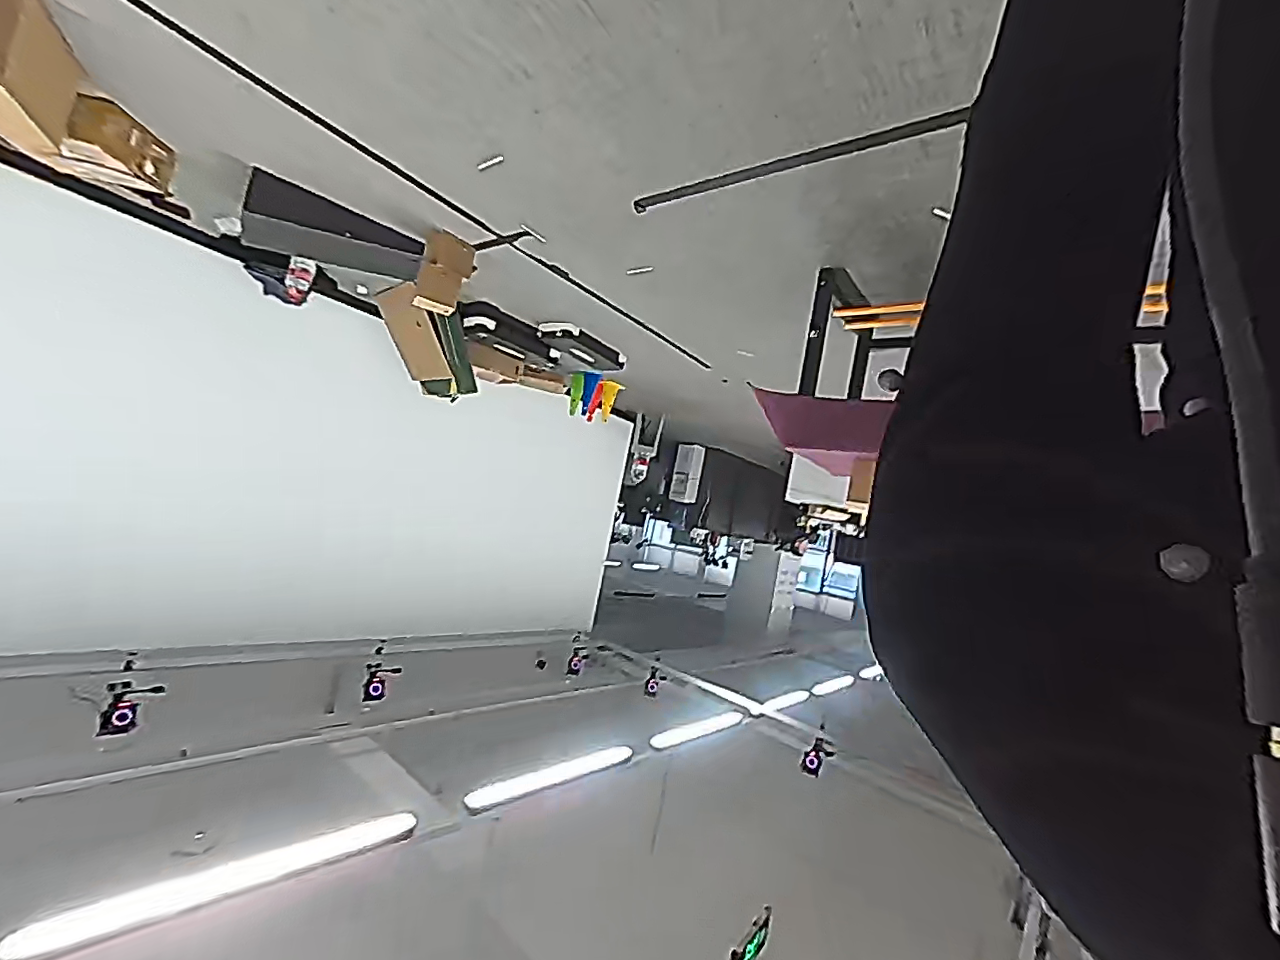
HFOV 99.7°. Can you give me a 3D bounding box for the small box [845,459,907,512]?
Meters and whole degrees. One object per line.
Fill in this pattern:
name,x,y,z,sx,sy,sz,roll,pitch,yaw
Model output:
small box,0.908,0.020,2.067,0.179,0.176,0.168,9,176,40
